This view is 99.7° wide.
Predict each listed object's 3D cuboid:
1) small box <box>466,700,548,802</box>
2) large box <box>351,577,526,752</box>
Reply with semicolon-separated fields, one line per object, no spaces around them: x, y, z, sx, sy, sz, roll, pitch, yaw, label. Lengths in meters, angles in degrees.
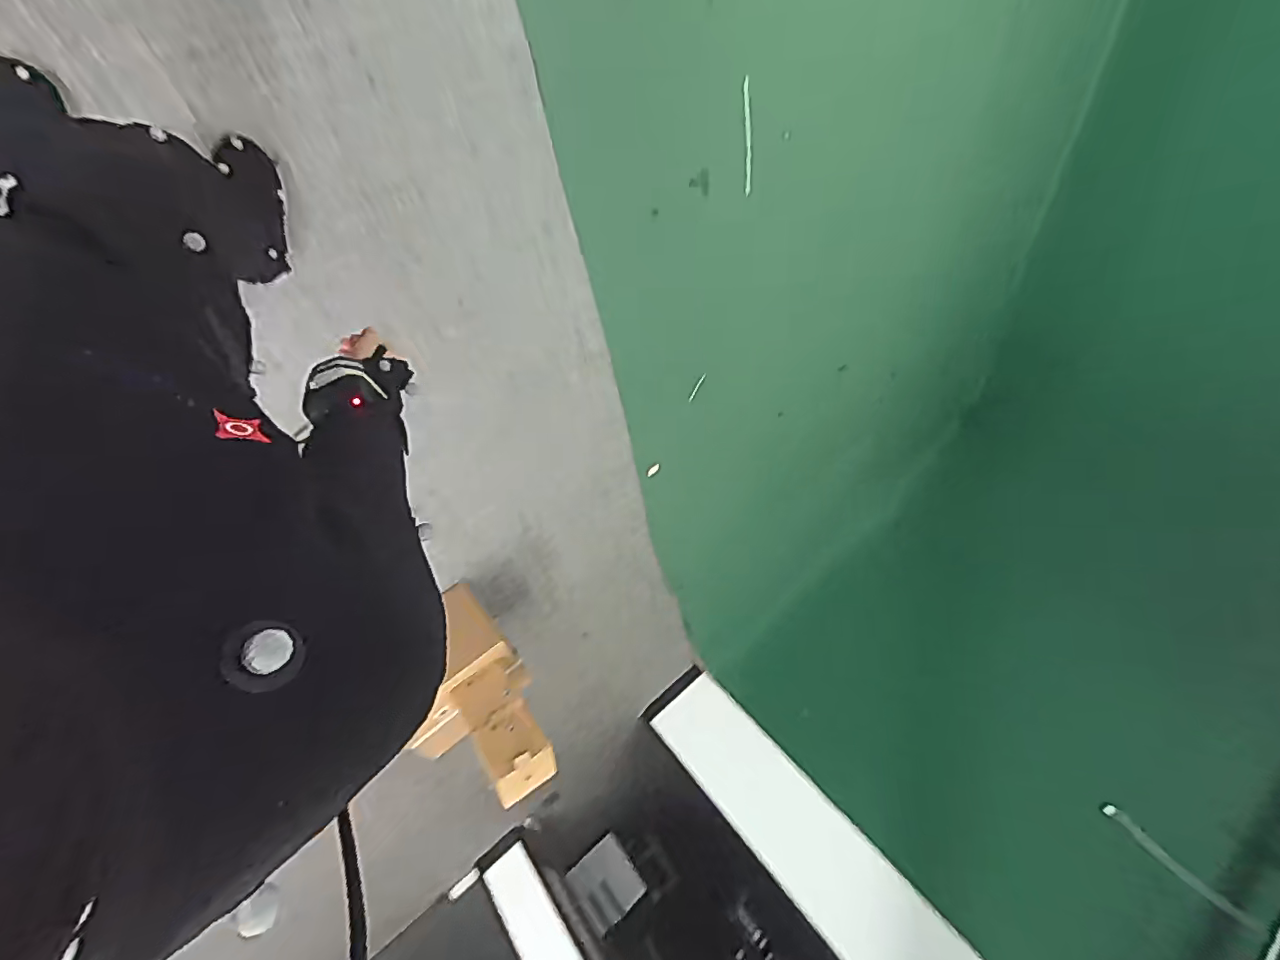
-0.382;0.777;1.563;0.168;0.176;0.179;-25;136;-28;small box
-0.664;0.608;1.808;0.408;0.320;0.320;-35;139;-17;large box
